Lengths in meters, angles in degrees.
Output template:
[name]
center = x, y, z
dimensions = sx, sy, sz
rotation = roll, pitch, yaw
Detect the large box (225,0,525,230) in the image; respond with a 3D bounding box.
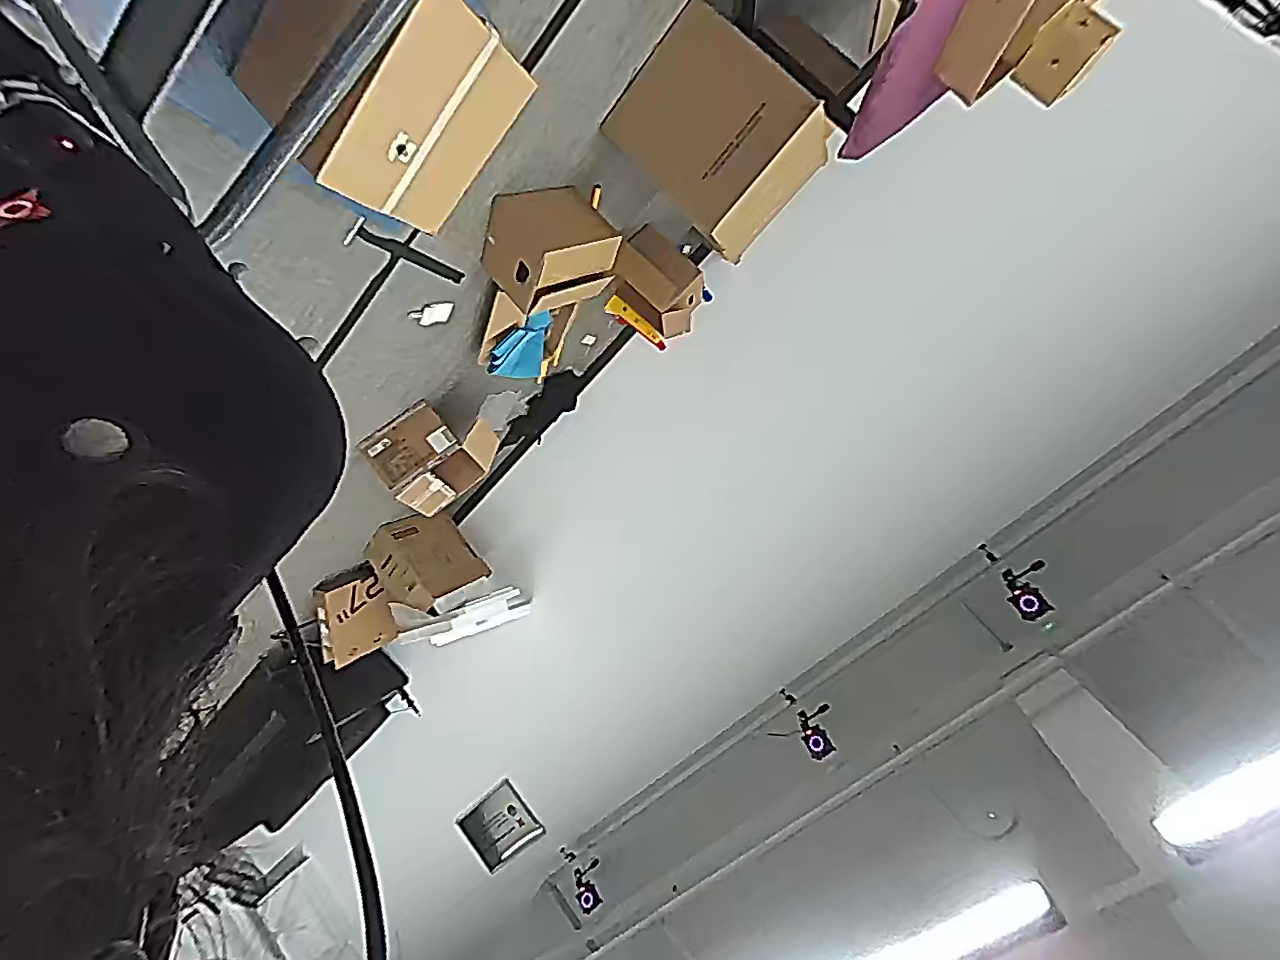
[large box]
center = -0.520, -0.812, 1.087
dimensions = 0.408, 0.320, 0.320
rotation = -43, 170, 18
